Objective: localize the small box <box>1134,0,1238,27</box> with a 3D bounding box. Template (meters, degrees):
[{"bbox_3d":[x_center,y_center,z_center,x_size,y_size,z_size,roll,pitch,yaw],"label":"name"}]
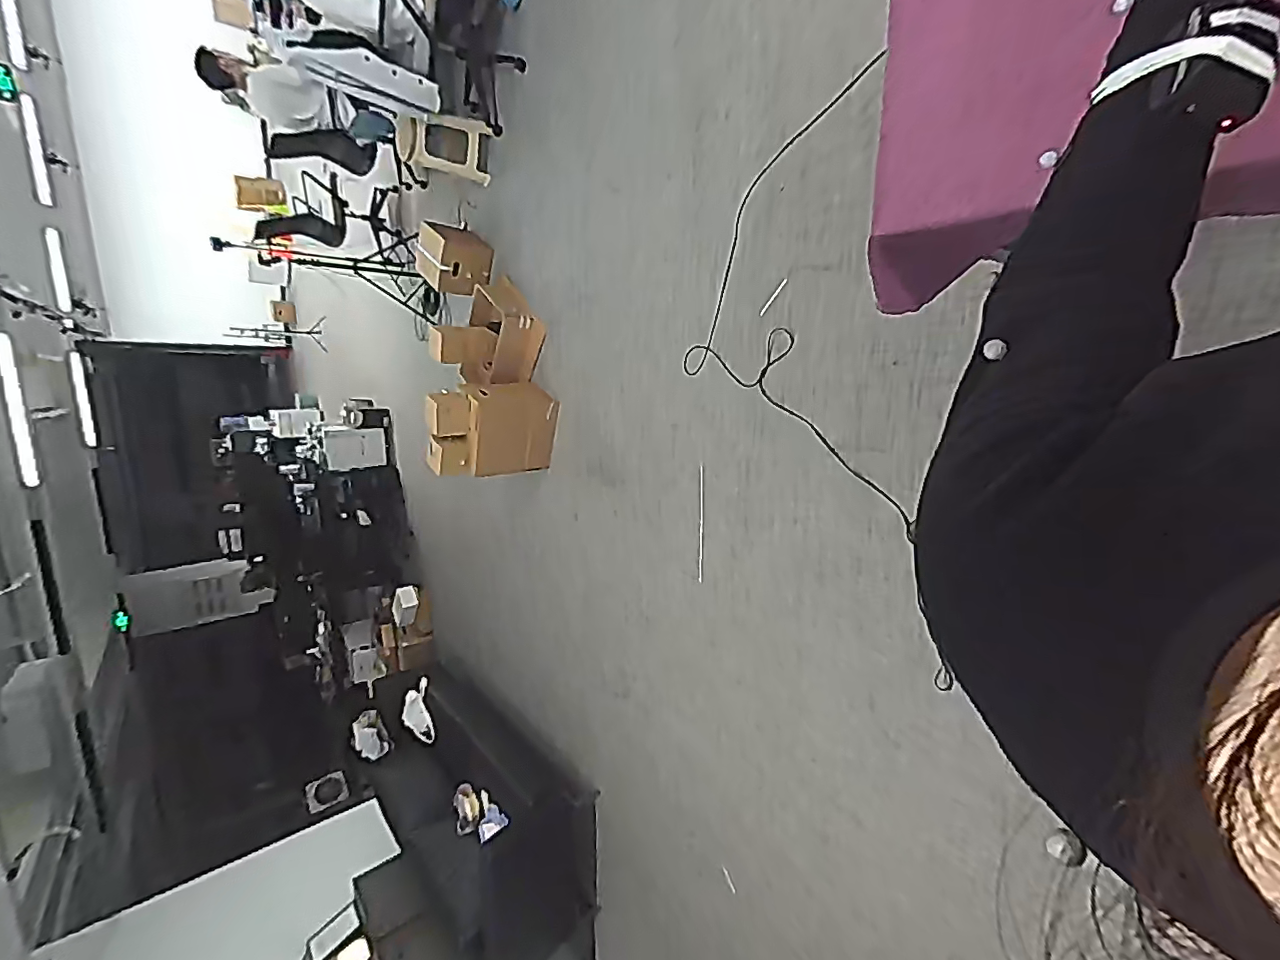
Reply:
[{"bbox_3d":[0.529,-0.541,0.453,0.168,0.176,0.179,15,109,48],"label":"small box"}]
